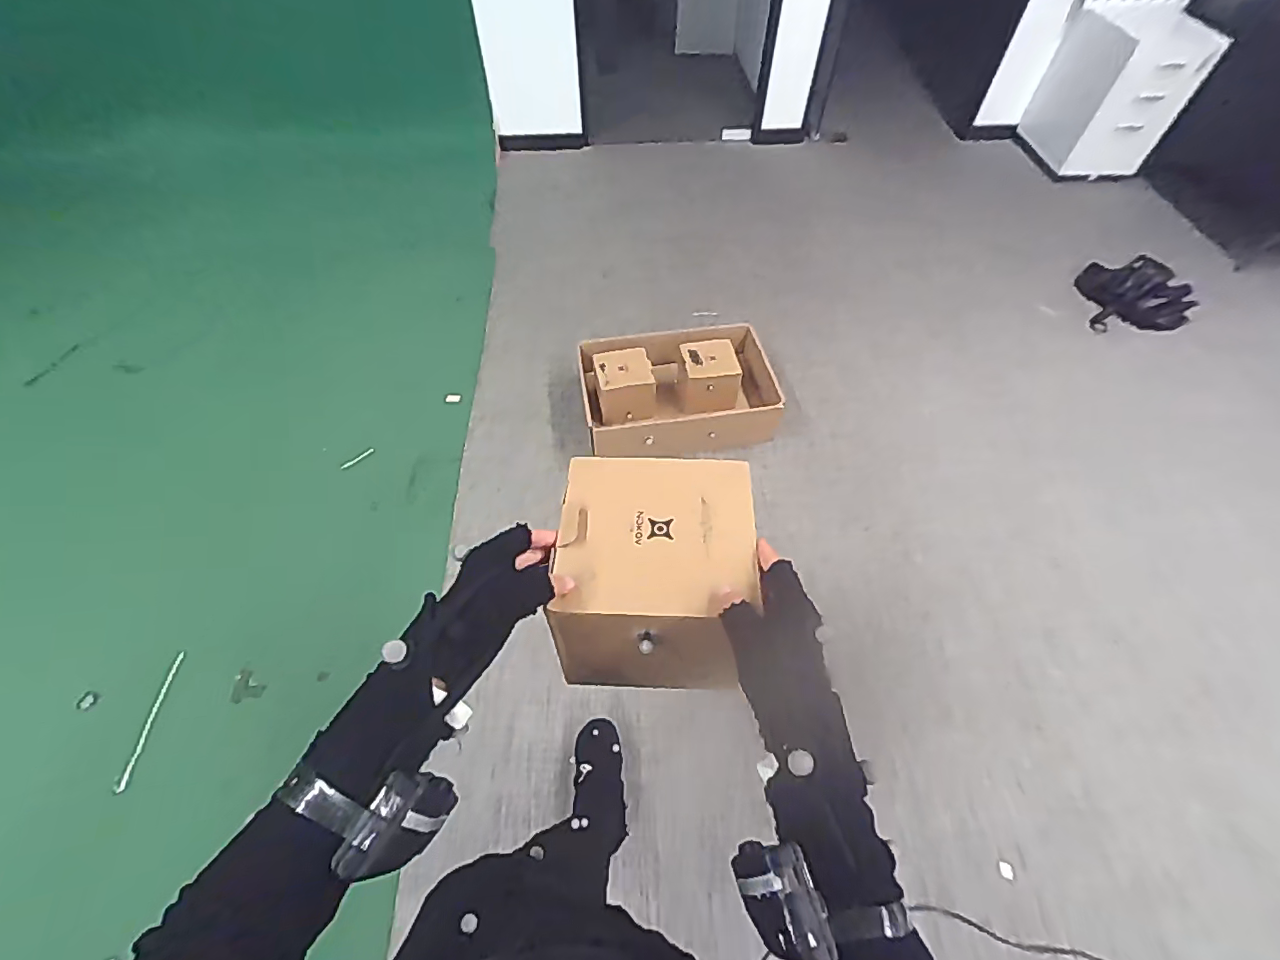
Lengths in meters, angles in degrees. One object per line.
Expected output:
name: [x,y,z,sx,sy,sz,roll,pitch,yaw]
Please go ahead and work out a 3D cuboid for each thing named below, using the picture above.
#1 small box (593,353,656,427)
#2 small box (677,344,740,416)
small box: [-0.055,-0.294,1.781,0.179,0.176,0.168,-9,55,-9]
small box: [0.223,-0.332,1.812,0.179,0.176,0.168,-6,55,-6]
